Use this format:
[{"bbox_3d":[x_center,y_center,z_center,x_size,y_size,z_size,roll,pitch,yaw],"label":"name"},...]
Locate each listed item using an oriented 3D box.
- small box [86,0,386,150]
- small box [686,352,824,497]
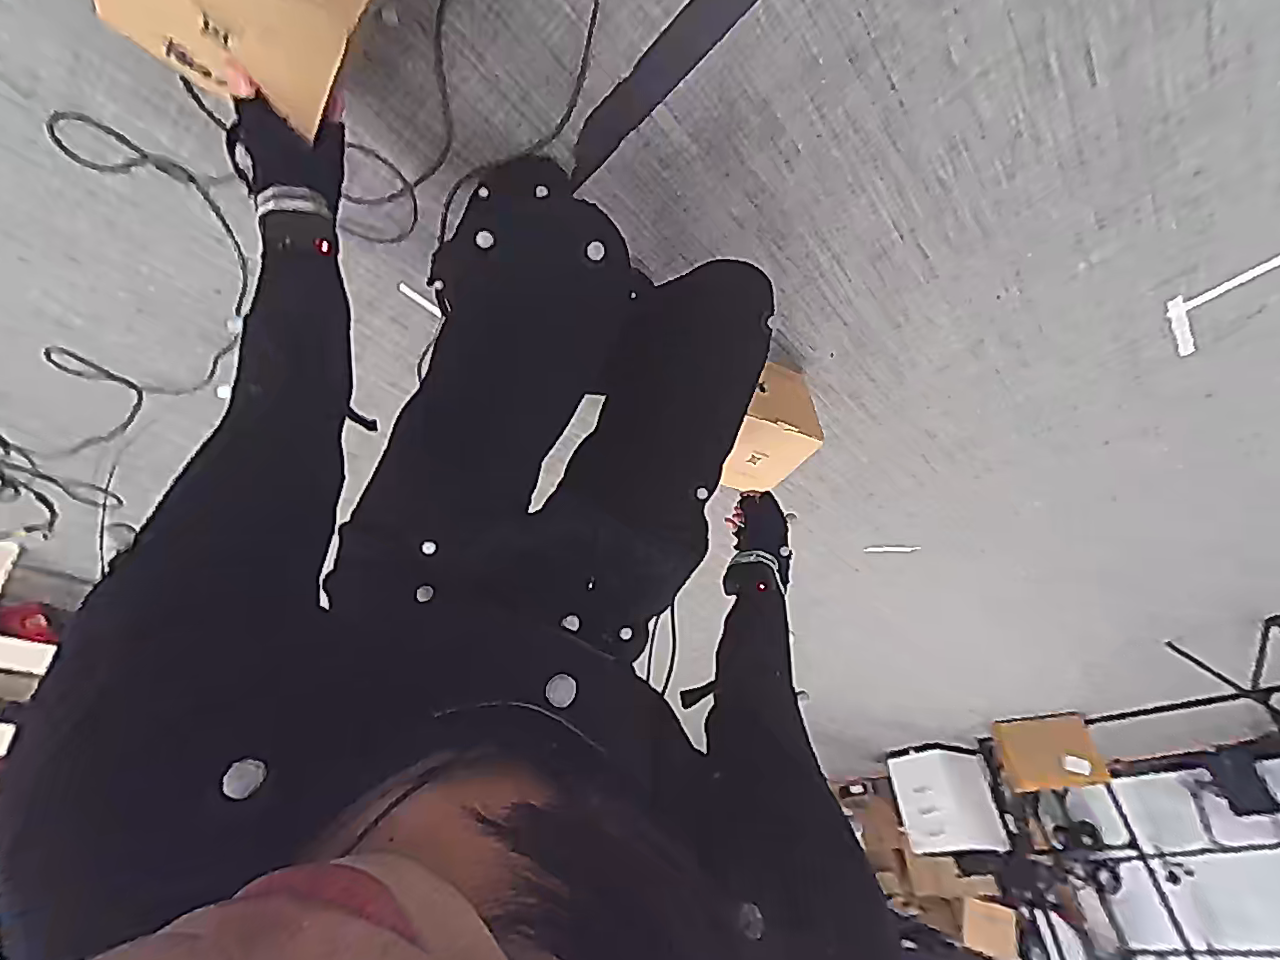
[{"bbox_3d":[-0.317,-0.435,0.448,0.168,0.176,0.179,29,159,-36],"label":"small box"},{"bbox_3d":[0.194,-0.099,0.974,0.168,0.176,0.179,16,139,-22],"label":"small box"}]
